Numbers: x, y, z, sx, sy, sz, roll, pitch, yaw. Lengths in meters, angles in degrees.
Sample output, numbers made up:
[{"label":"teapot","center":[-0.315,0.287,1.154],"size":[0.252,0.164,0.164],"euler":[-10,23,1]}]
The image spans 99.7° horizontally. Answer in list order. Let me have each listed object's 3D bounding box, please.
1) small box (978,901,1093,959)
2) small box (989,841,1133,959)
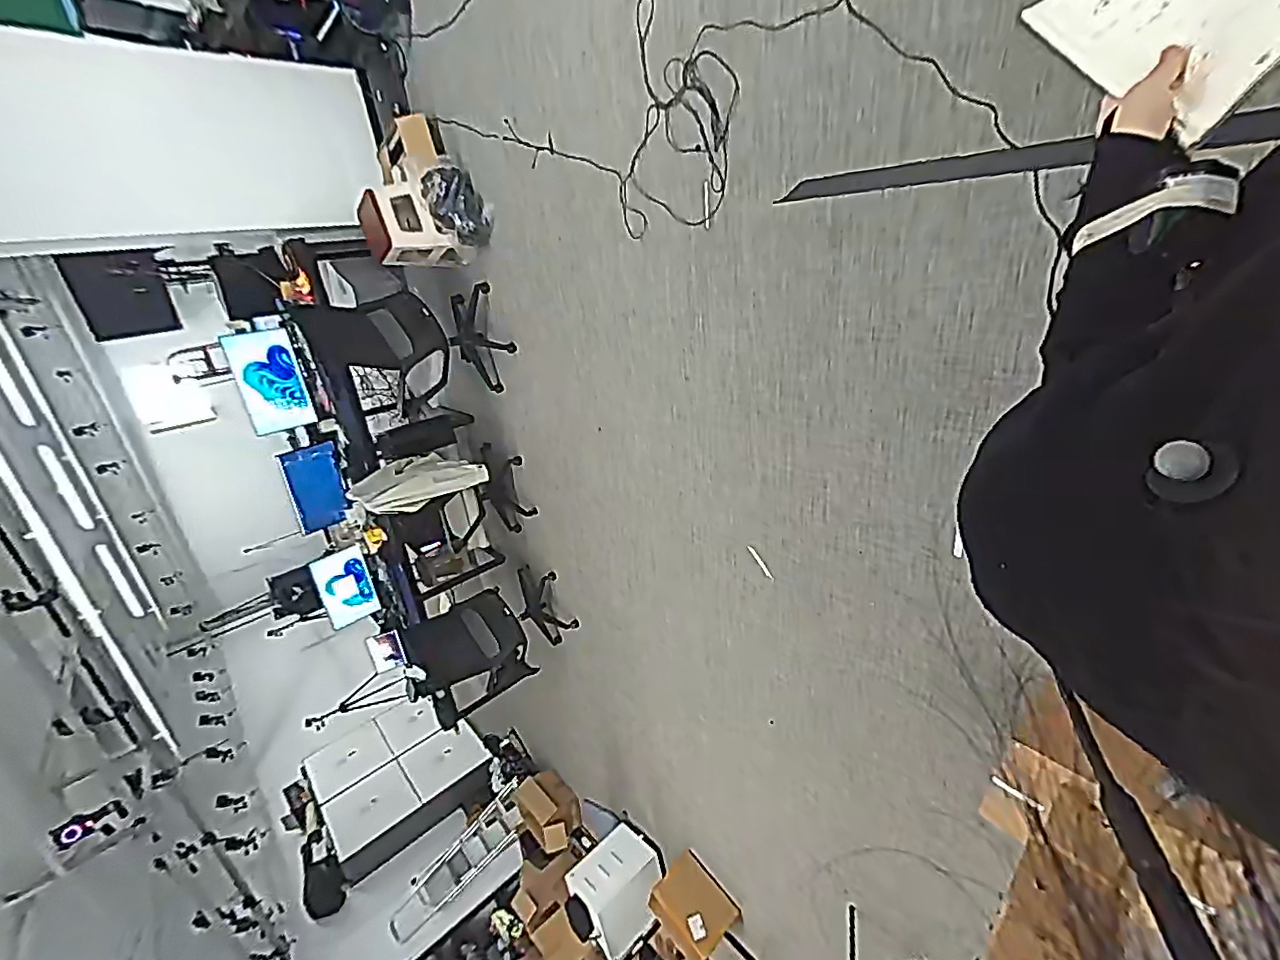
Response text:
[{"label":"small box","center":[0.728,0.949,1.003],"size":[0.168,0.176,0.179],"euler":[26,130,41]},{"label":"small box","center":[0.847,0.879,1.093],"size":[0.179,0.176,0.168],"euler":[23,128,42]}]
